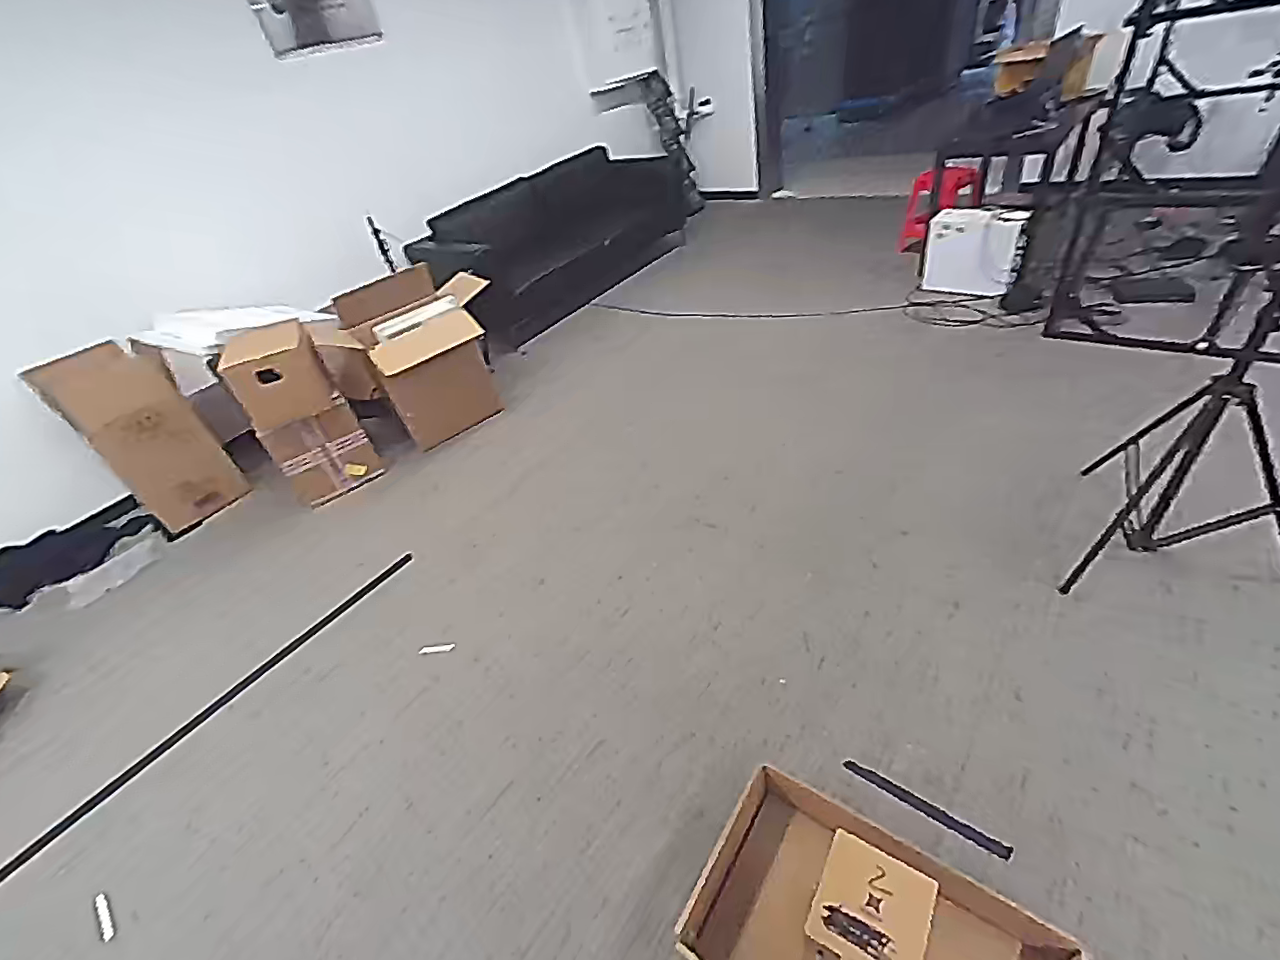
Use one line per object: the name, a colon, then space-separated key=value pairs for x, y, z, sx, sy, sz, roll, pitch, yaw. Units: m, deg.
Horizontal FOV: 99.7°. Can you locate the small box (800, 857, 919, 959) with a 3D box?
small box: x=0.411 y=0.876 z=1.026 sx=0.168 sy=0.176 sz=0.179 roll=16 pitch=47 yaw=31
